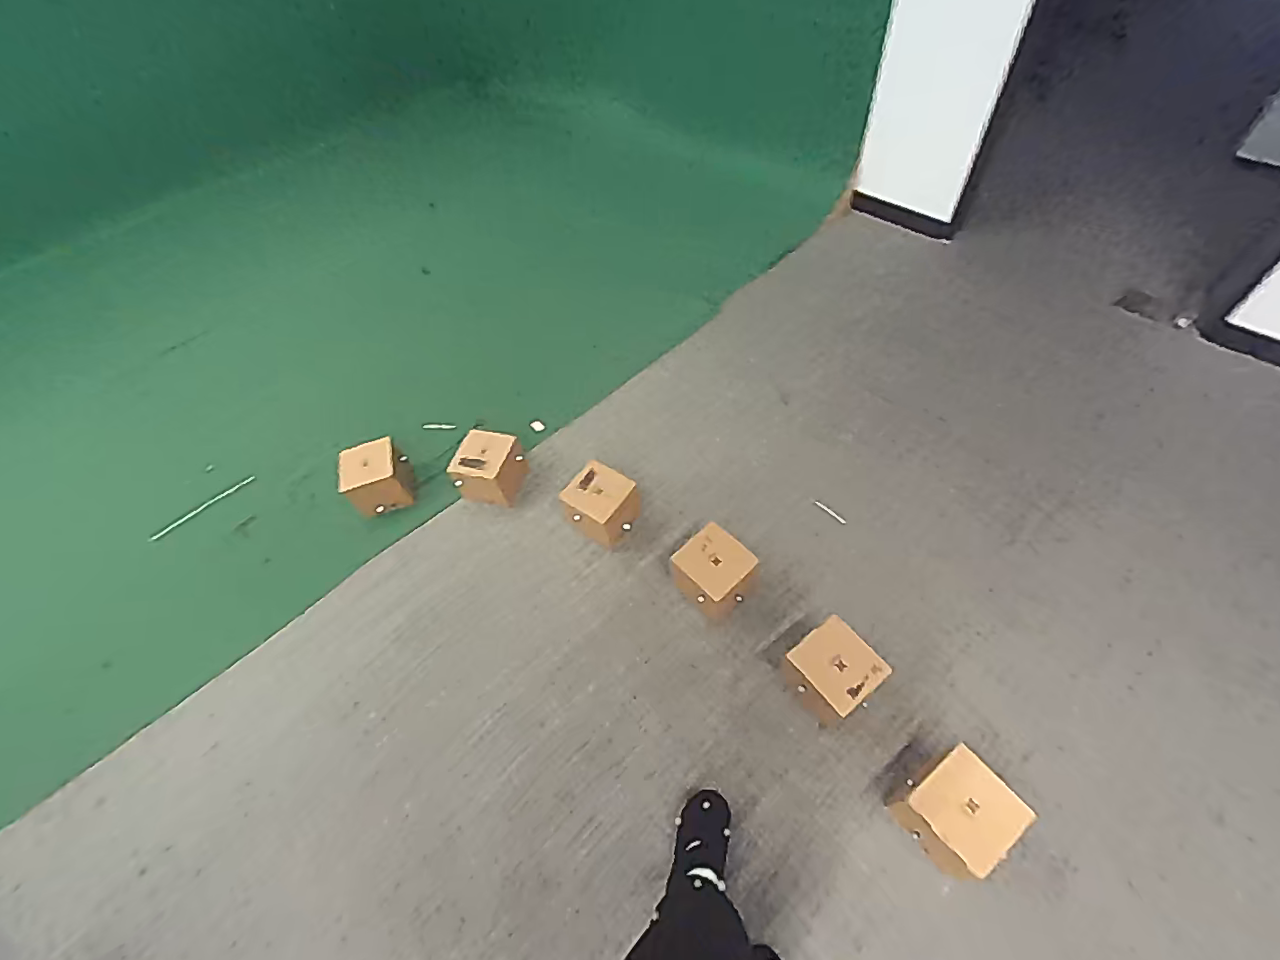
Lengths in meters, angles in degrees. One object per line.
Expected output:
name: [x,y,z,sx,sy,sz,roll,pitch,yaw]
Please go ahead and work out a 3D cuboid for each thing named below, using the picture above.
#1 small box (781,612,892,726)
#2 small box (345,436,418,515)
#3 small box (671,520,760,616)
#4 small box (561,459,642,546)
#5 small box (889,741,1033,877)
small box: [0.461,0.458,1.302,0.168,0.176,0.179,-34,57,-15]
small box: [-0.857,-0.012,1.801,0.168,0.176,0.179,-18,55,-5]
small box: [0.206,0.250,1.479,0.168,0.176,0.179,-38,59,-19]
small box: [-0.111,0.072,1.643,0.179,0.176,0.168,29,64,23]
small box: [0.653,0.681,1.126,0.179,0.176,0.168,-34,58,-15]
